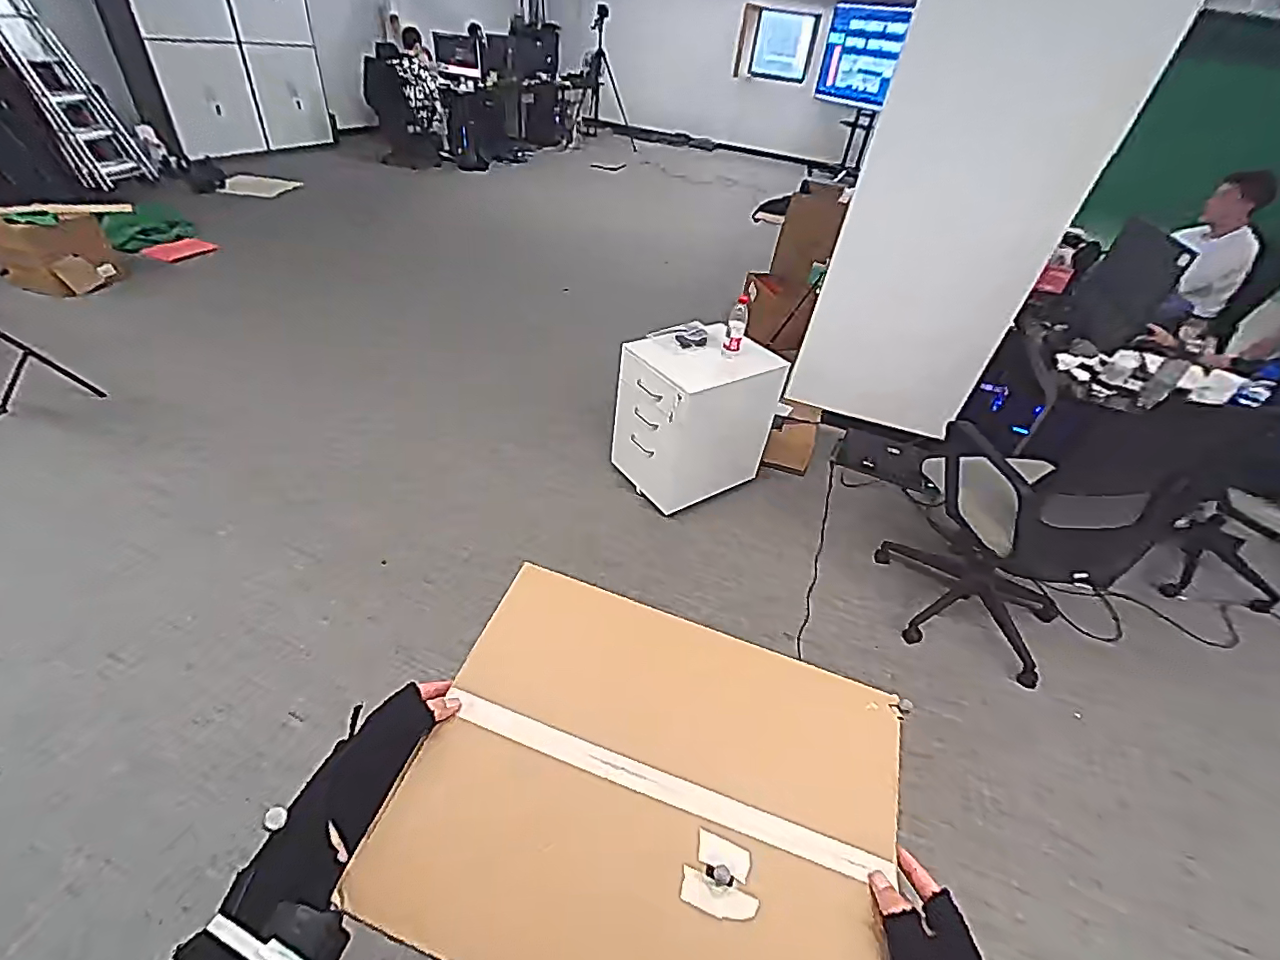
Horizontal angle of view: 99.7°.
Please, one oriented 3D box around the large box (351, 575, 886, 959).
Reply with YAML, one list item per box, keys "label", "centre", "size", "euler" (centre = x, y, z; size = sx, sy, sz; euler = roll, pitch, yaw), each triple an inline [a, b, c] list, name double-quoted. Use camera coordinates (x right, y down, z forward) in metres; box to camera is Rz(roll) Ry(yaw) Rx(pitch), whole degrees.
- label: "large box"
  centre: [-0.004, 0.365, 0.585]
  size: [0.408, 0.320, 0.320]
  euler: [19, 50, 7]
